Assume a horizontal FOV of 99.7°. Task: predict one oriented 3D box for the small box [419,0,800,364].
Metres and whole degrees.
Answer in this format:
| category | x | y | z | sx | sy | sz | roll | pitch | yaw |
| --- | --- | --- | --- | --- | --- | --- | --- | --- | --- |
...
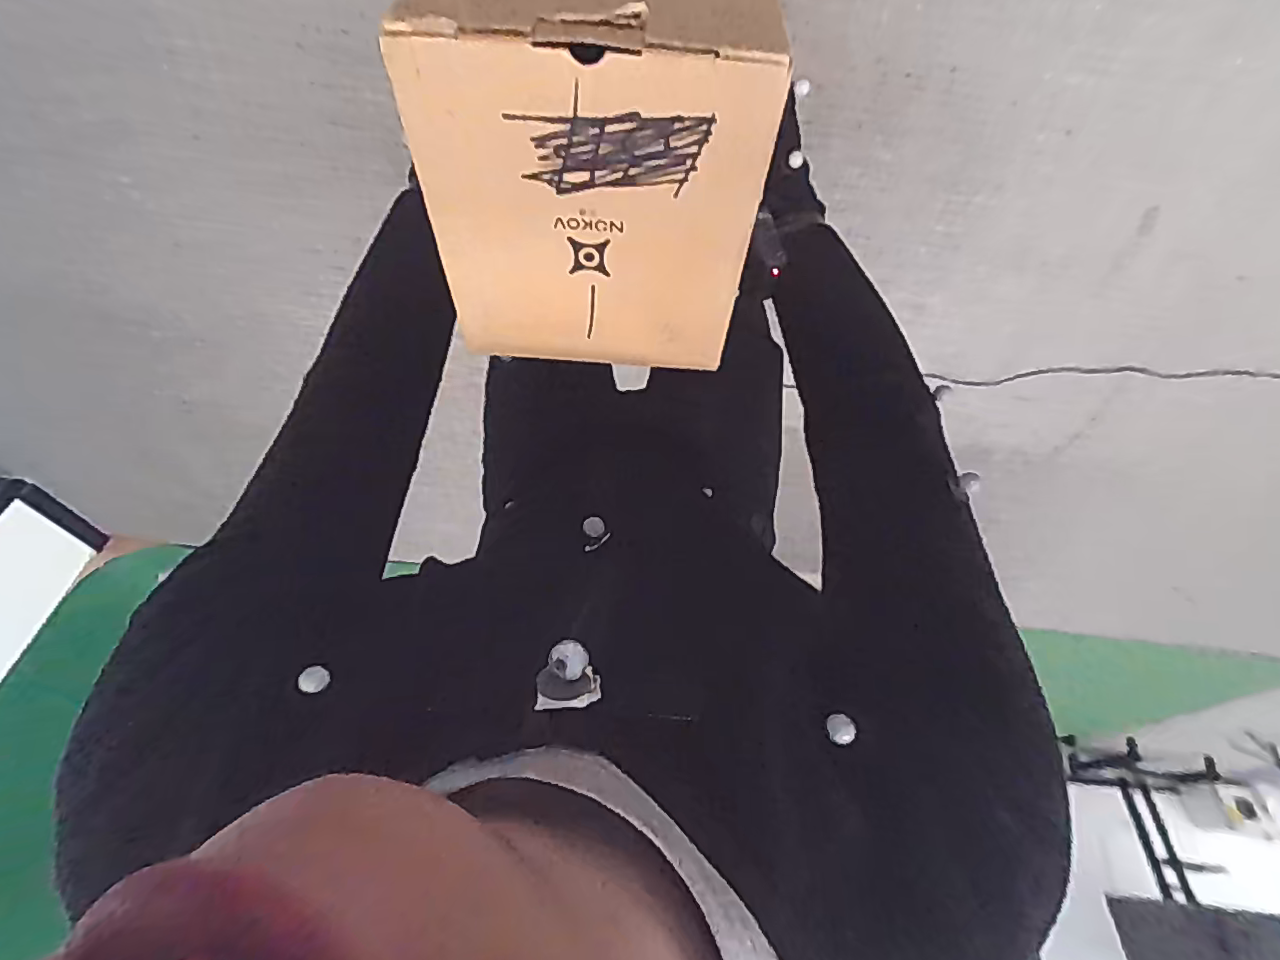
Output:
| category | x | y | z | sx | sy | sz | roll | pitch | yaw |
| --- | --- | --- | --- | --- | --- | --- | --- | --- | --- |
| small box | -0.015 | -0.199 | 0.339 | 0.168 | 0.176 | 0.179 | 4 | 147 | -1 |
